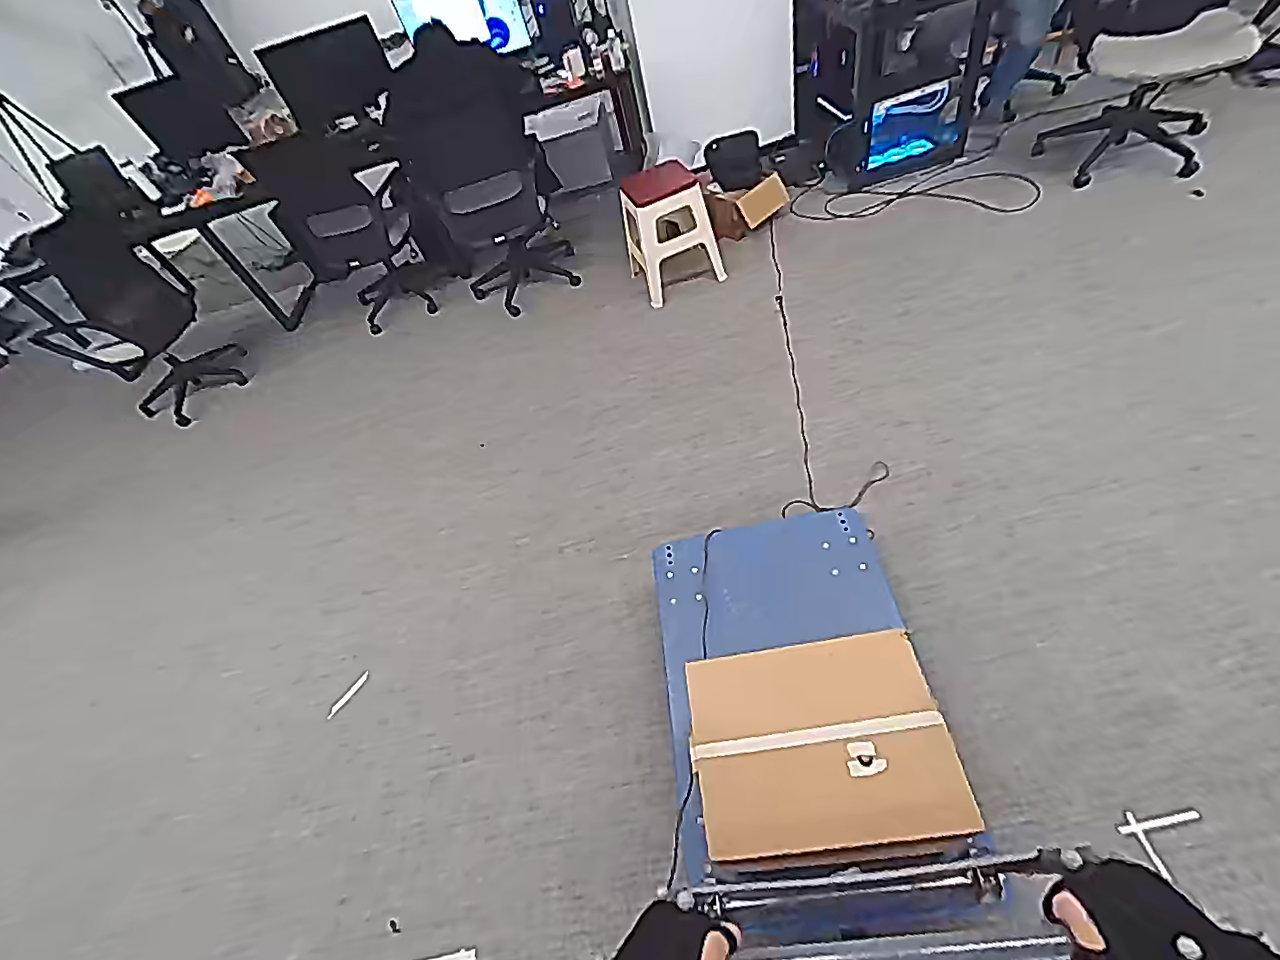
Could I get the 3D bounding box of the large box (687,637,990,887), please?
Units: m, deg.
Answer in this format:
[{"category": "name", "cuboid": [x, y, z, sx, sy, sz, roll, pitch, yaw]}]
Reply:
[{"category": "large box", "cuboid": [0.321, 0.524, 0.988, 0.408, 0.320, 0.320, -11, 50, 7]}]
